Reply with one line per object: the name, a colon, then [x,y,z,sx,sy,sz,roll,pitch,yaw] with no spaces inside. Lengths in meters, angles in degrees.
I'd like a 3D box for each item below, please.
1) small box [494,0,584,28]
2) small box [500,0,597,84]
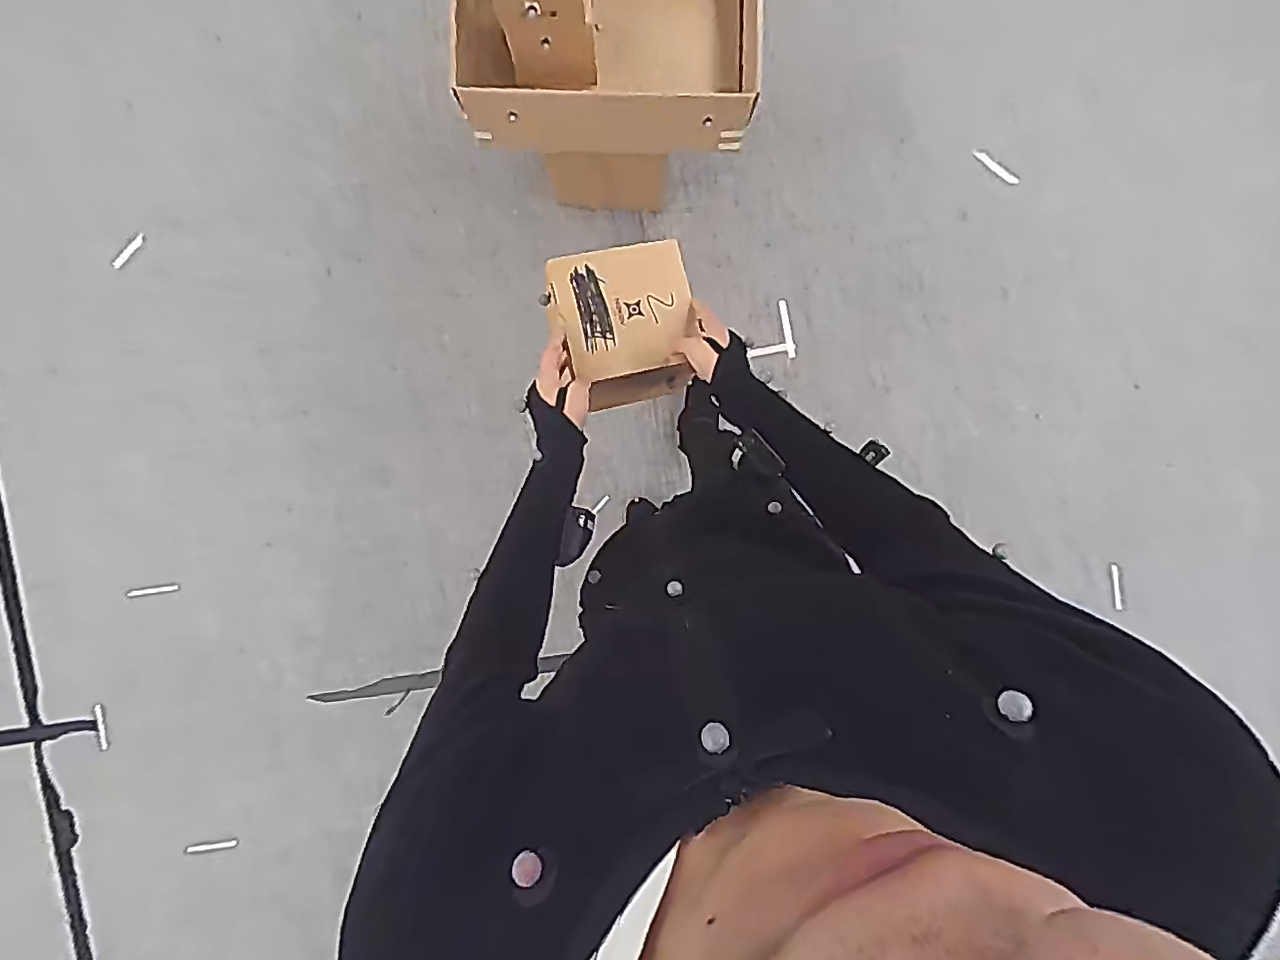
small box: [-0.193,-0.951,0.948,0.168,0.176,0.179,-5,90,0]
small box: [-0.184,-0.953,1.112,0.179,0.176,0.168,-3,91,-1]
